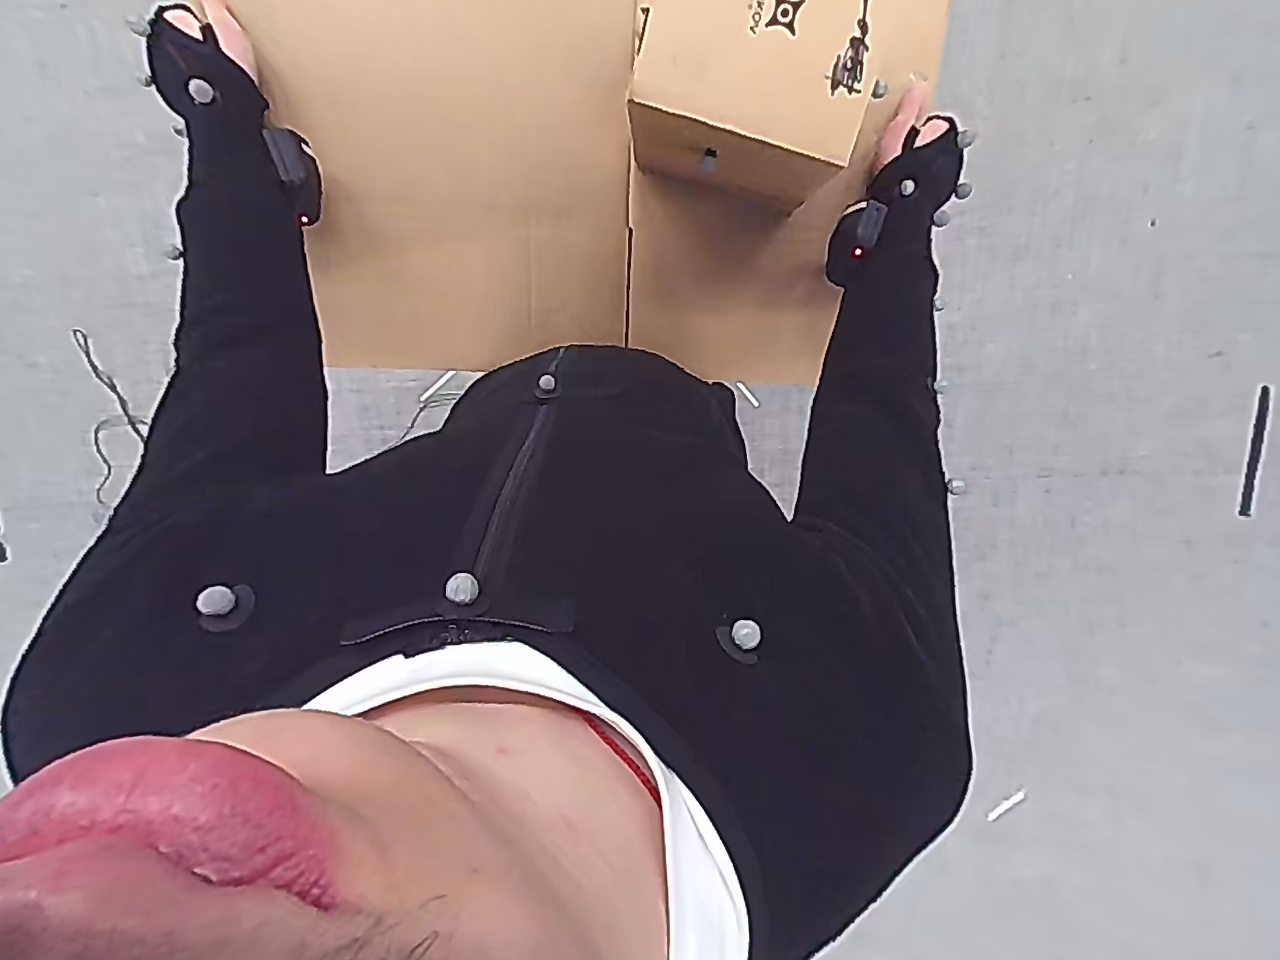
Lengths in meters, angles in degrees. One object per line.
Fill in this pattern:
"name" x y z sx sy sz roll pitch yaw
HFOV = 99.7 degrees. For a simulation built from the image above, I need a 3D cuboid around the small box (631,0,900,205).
"small box" 0.101 -0.362 0.471 0.179 0.176 0.168 16 105 -2
